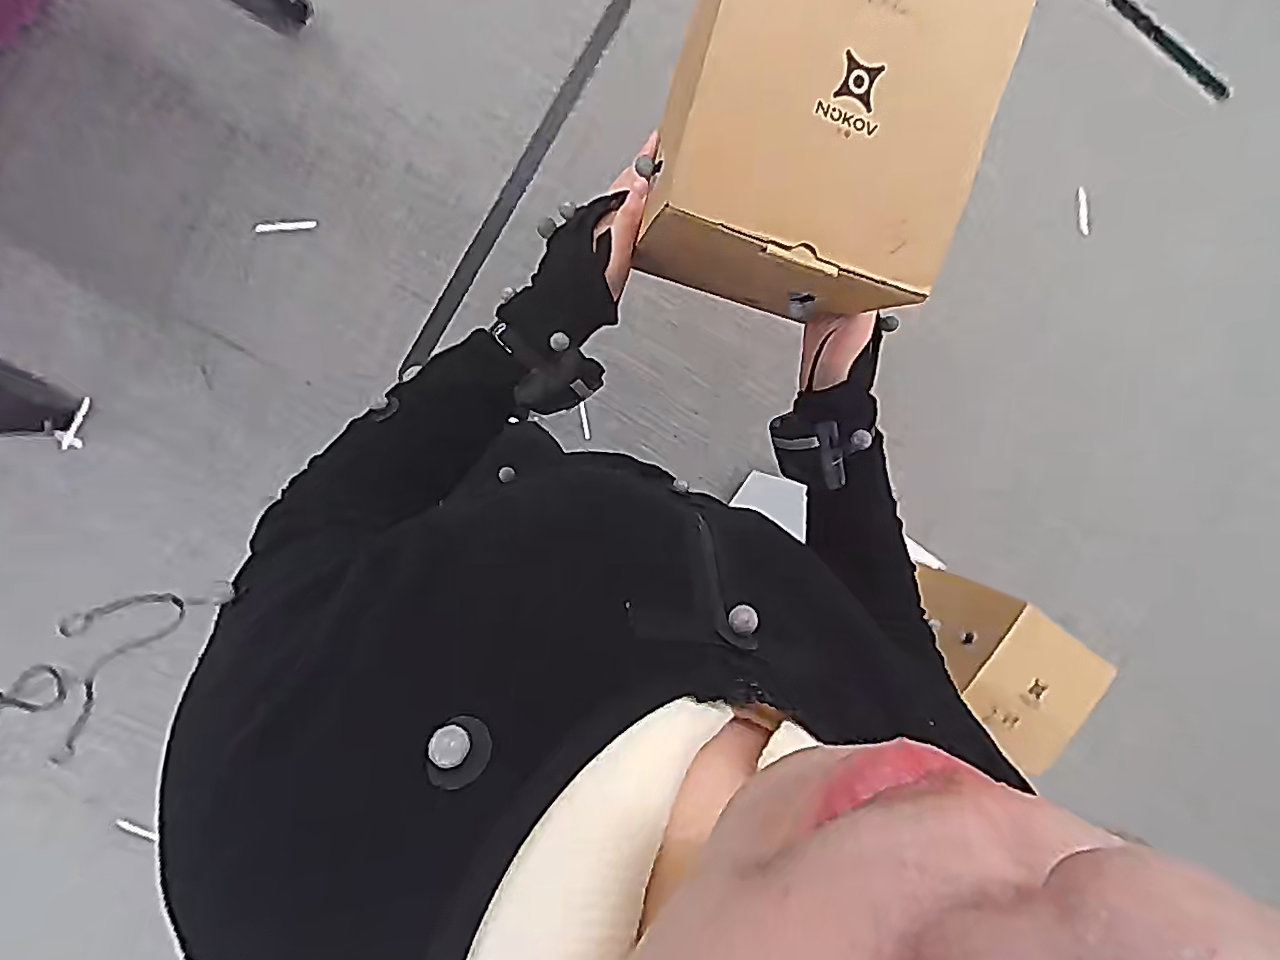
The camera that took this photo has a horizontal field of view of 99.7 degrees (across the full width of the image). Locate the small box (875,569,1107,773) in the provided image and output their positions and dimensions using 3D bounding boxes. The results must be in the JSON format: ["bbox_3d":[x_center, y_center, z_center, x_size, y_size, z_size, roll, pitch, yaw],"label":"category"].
[{"bbox_3d":[0.468,0.249,0.751,0.168,0.176,0.179,36,91,-9],"label":"small box"}]

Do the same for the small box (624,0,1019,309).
[{"bbox_3d":[0.092,-0.224,0.358,0.168,0.176,0.179,13,100,-12],"label":"small box"}]
